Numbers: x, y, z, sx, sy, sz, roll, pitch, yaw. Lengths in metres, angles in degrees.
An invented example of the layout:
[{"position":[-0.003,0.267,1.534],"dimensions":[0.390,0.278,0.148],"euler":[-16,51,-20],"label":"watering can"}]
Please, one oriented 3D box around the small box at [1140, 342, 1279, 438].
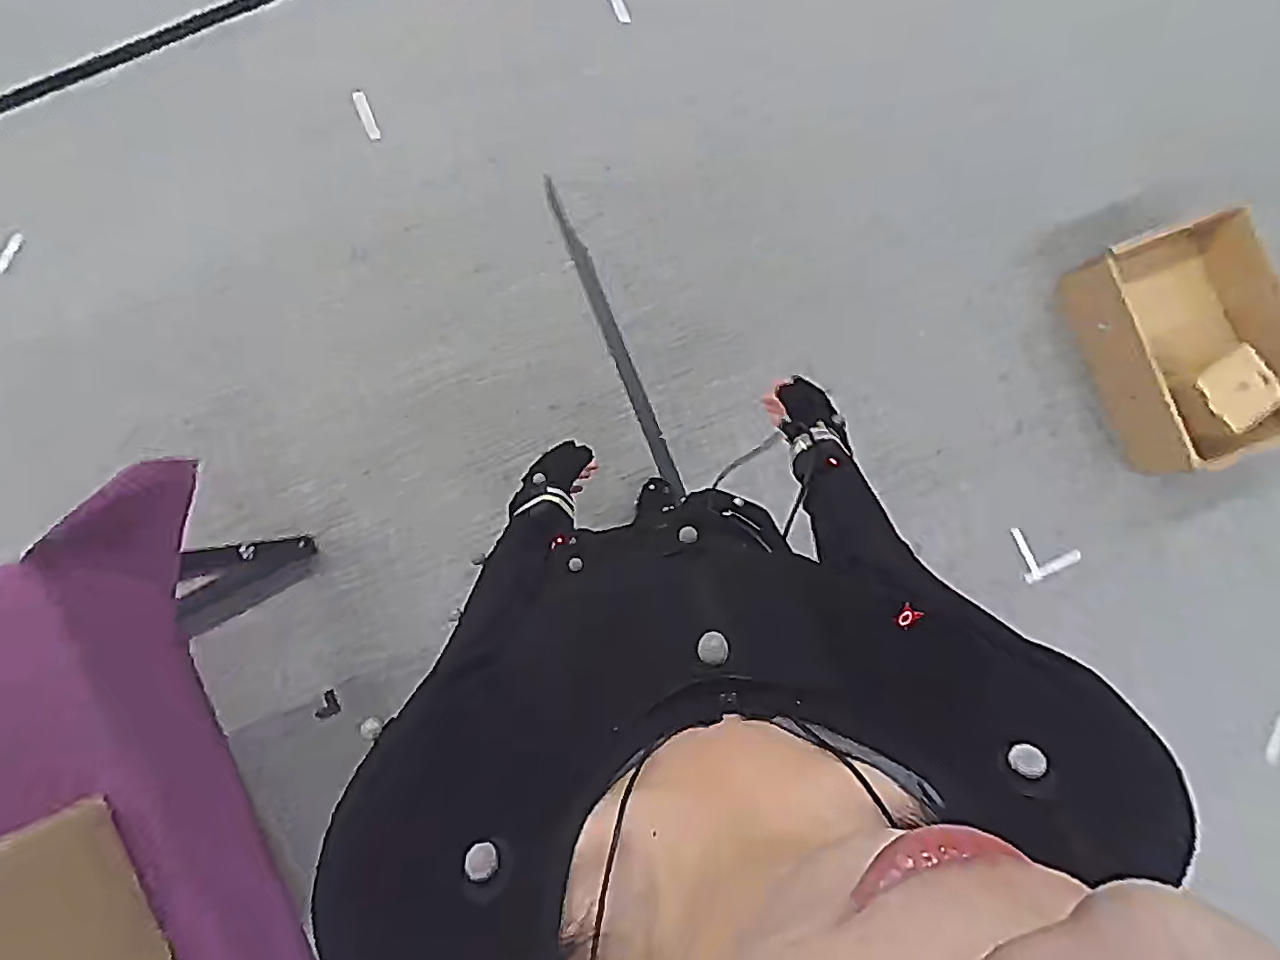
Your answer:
[{"position":[1.488,-0.228,1.427],"dimensions":[0.179,0.176,0.168],"euler":[-34,88,-2],"label":"small box"}]
